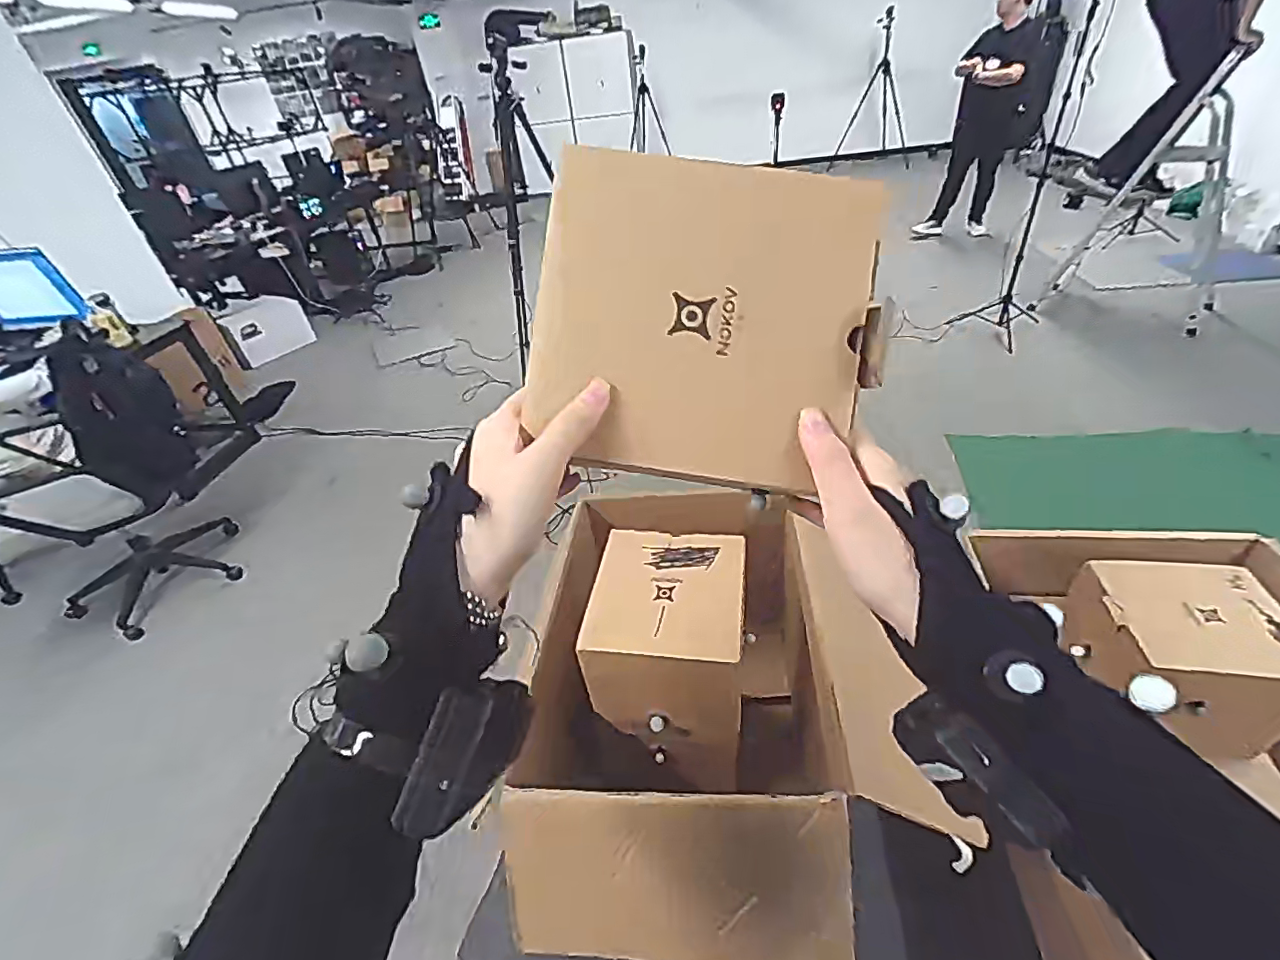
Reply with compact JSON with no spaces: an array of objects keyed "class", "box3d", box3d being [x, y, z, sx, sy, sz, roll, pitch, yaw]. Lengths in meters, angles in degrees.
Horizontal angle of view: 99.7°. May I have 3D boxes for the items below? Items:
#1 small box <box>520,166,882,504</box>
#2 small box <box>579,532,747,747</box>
[{"class":"small box","box3d":[0.035,-0.077,0.371,0.179,0.168,0.176,9,-1,2]},{"class":"small box","box3d":[0.039,0.186,0.646,0.168,0.176,0.179,2,40,12]}]
